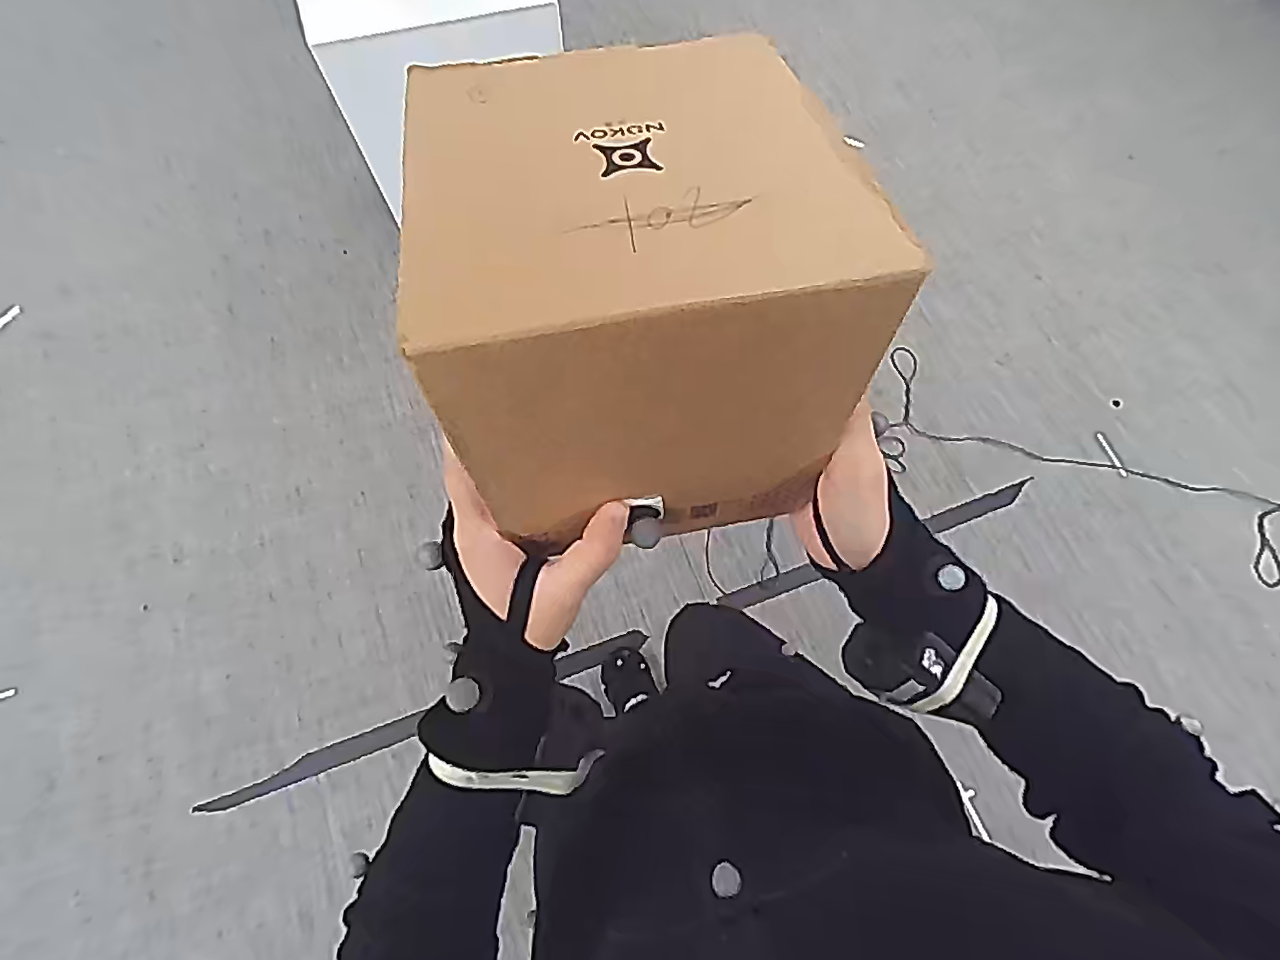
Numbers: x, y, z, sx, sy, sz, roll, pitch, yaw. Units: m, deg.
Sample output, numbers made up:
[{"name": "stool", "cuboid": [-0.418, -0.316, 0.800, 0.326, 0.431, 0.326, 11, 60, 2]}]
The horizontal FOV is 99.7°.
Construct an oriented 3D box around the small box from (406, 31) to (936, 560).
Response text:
[{"name": "small box", "cuboid": [-0.002, -0.083, 0.272, 0.168, 0.176, 0.179, -12, 60, -5]}]
